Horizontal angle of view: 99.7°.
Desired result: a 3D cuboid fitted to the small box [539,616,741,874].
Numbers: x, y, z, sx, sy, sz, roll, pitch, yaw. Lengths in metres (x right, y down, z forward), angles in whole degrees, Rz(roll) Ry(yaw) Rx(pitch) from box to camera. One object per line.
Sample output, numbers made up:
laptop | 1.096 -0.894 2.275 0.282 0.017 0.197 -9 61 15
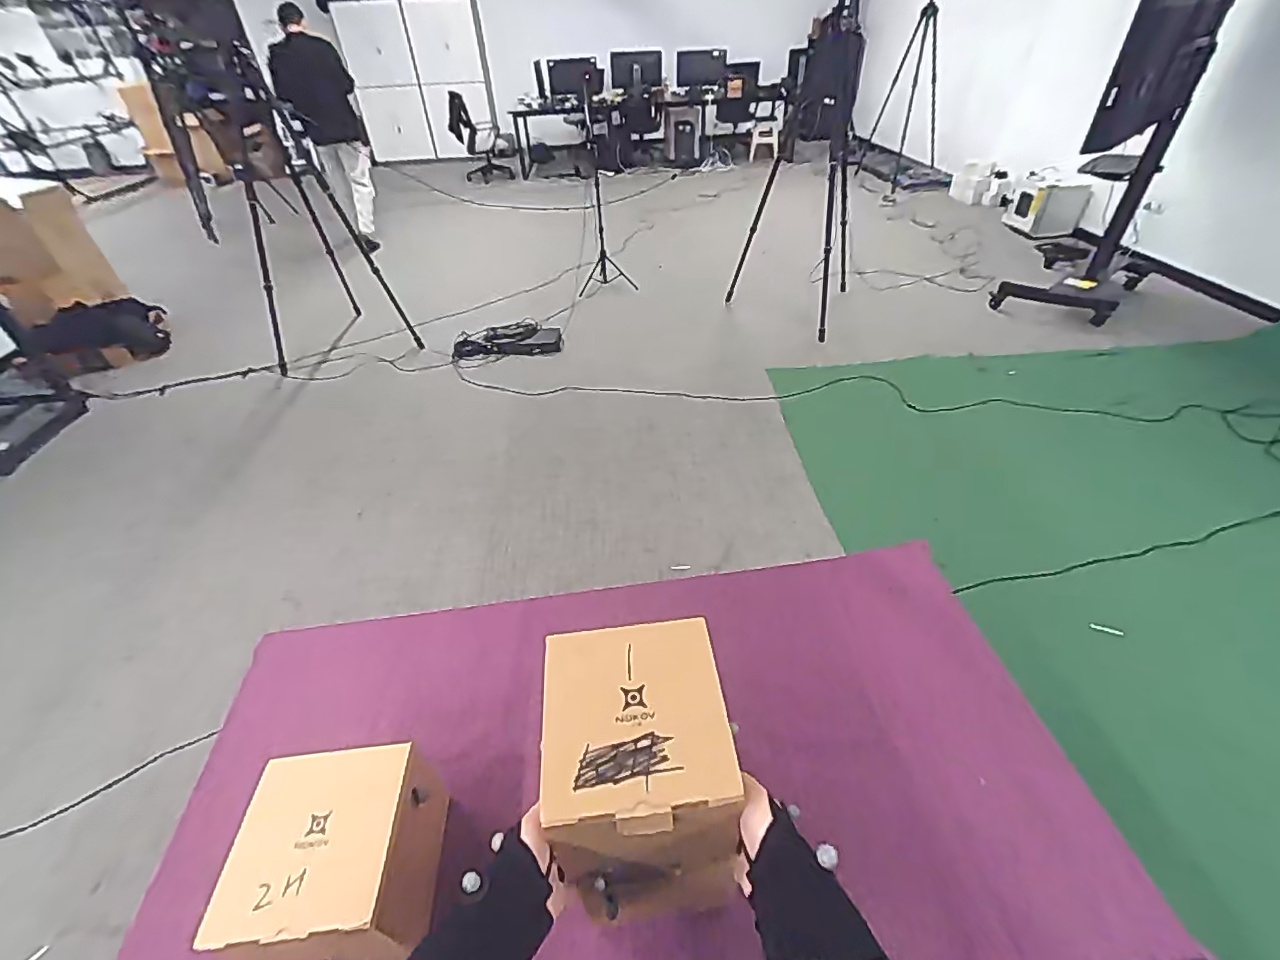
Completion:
small box | 0.000 0.264 0.538 0.168 0.176 0.179 -6 38 -2

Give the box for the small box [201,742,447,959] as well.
small box | -0.333 0.433 0.620 0.168 0.176 0.179 -6 40 -2
